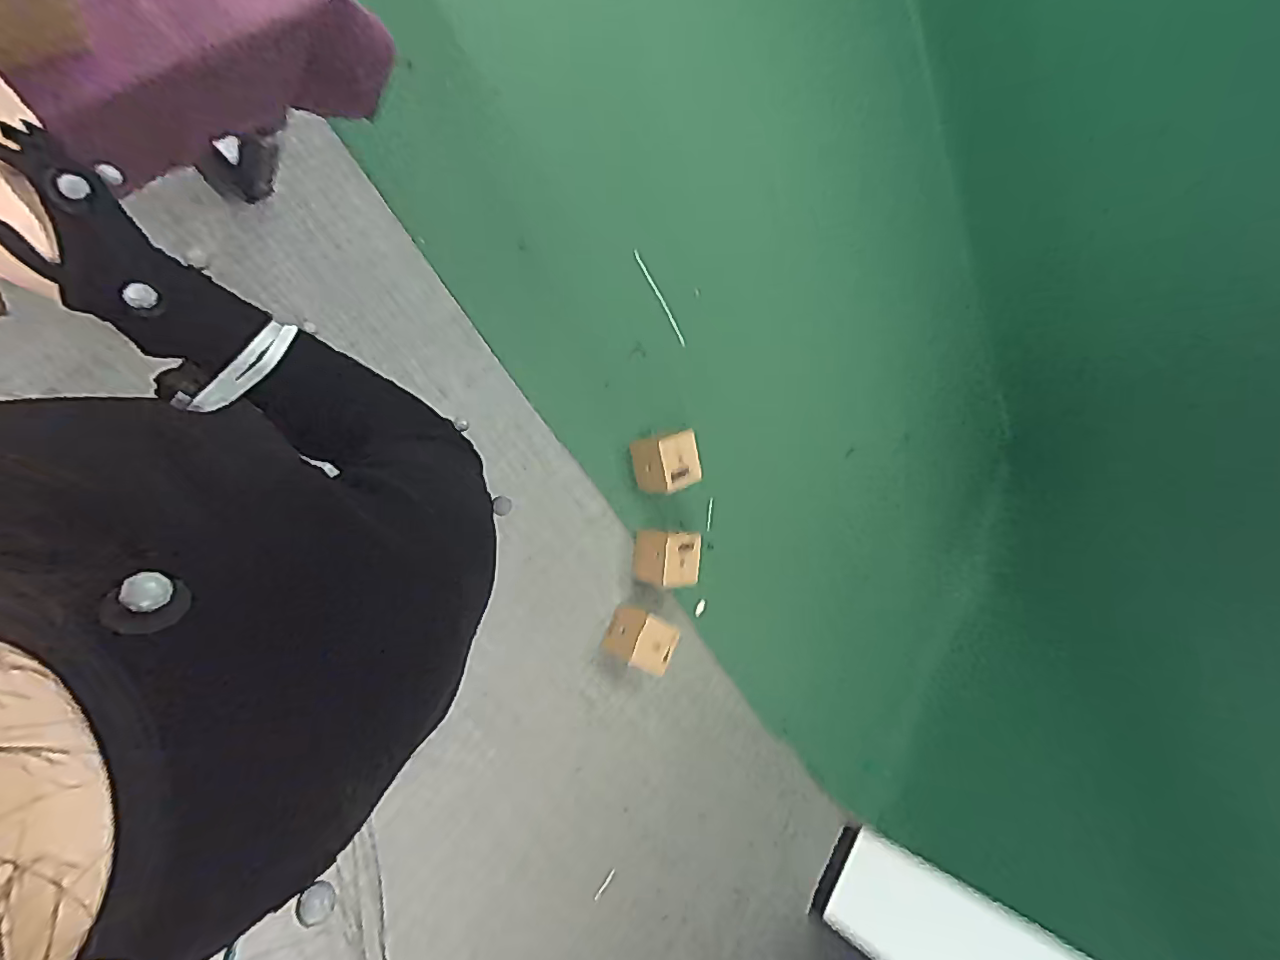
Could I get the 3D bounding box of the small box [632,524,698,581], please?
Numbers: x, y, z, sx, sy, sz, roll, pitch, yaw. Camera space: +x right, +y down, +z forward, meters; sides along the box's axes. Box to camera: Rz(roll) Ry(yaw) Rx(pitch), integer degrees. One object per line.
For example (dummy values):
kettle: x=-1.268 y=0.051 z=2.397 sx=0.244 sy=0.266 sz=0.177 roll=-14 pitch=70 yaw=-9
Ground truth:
small box: x=0.086 y=0.254 z=1.935 sx=0.168 sy=0.176 sz=0.179 roll=4 pitch=92 yaw=-39

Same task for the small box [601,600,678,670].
small box: x=-0.007 y=0.534 z=1.885 sx=0.179 sy=0.176 sz=0.168 roll=37 pitch=71 yaw=-34
